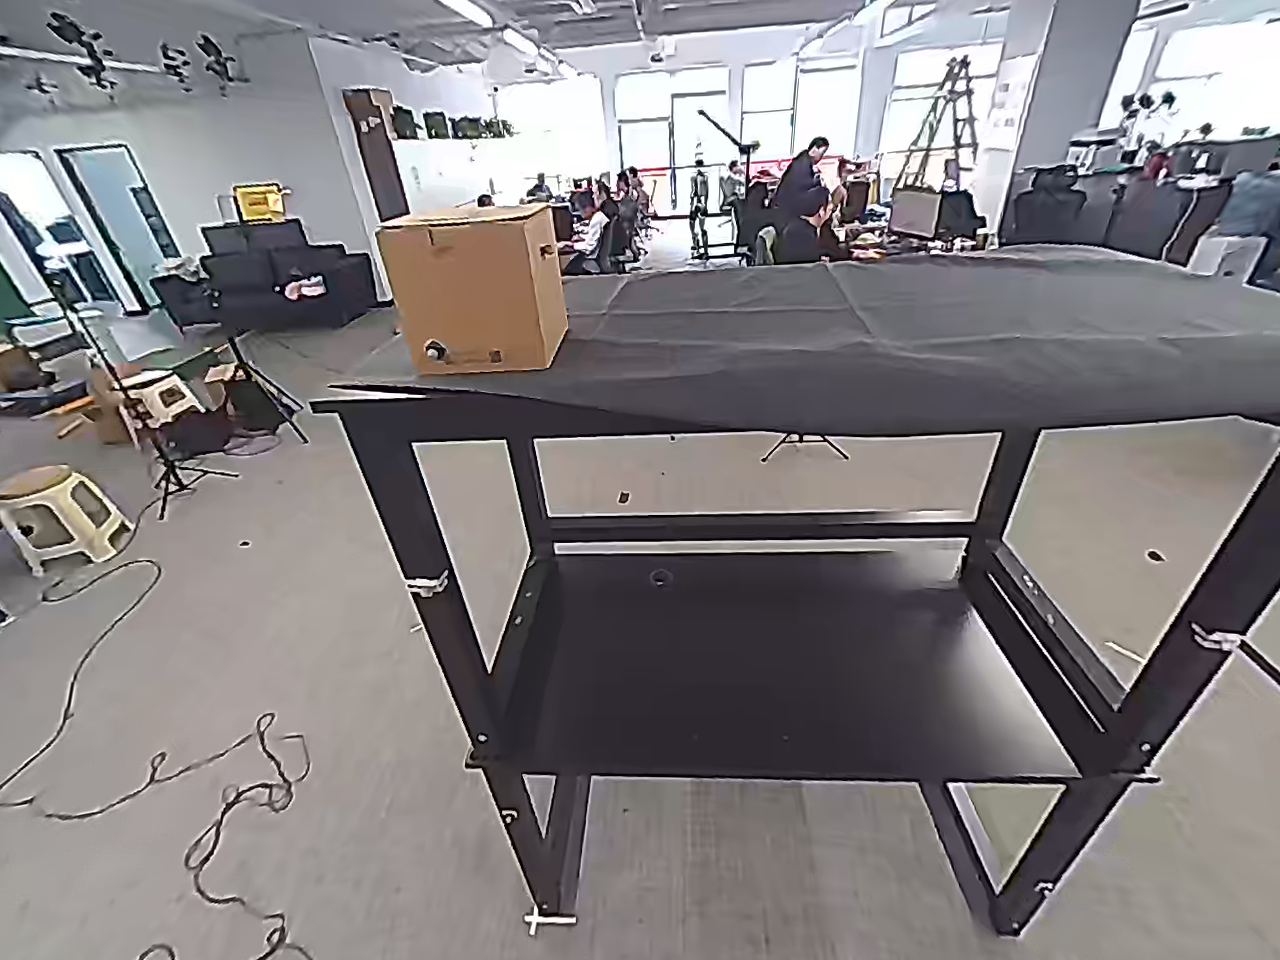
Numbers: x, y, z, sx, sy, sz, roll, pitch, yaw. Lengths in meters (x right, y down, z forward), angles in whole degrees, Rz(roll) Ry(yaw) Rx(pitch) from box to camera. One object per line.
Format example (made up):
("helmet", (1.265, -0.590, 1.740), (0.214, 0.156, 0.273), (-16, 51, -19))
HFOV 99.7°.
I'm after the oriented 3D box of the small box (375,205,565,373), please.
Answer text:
("small box", (-0.194, -0.239, 0.682), (0.168, 0.176, 0.179), (-2, 32, 3))
